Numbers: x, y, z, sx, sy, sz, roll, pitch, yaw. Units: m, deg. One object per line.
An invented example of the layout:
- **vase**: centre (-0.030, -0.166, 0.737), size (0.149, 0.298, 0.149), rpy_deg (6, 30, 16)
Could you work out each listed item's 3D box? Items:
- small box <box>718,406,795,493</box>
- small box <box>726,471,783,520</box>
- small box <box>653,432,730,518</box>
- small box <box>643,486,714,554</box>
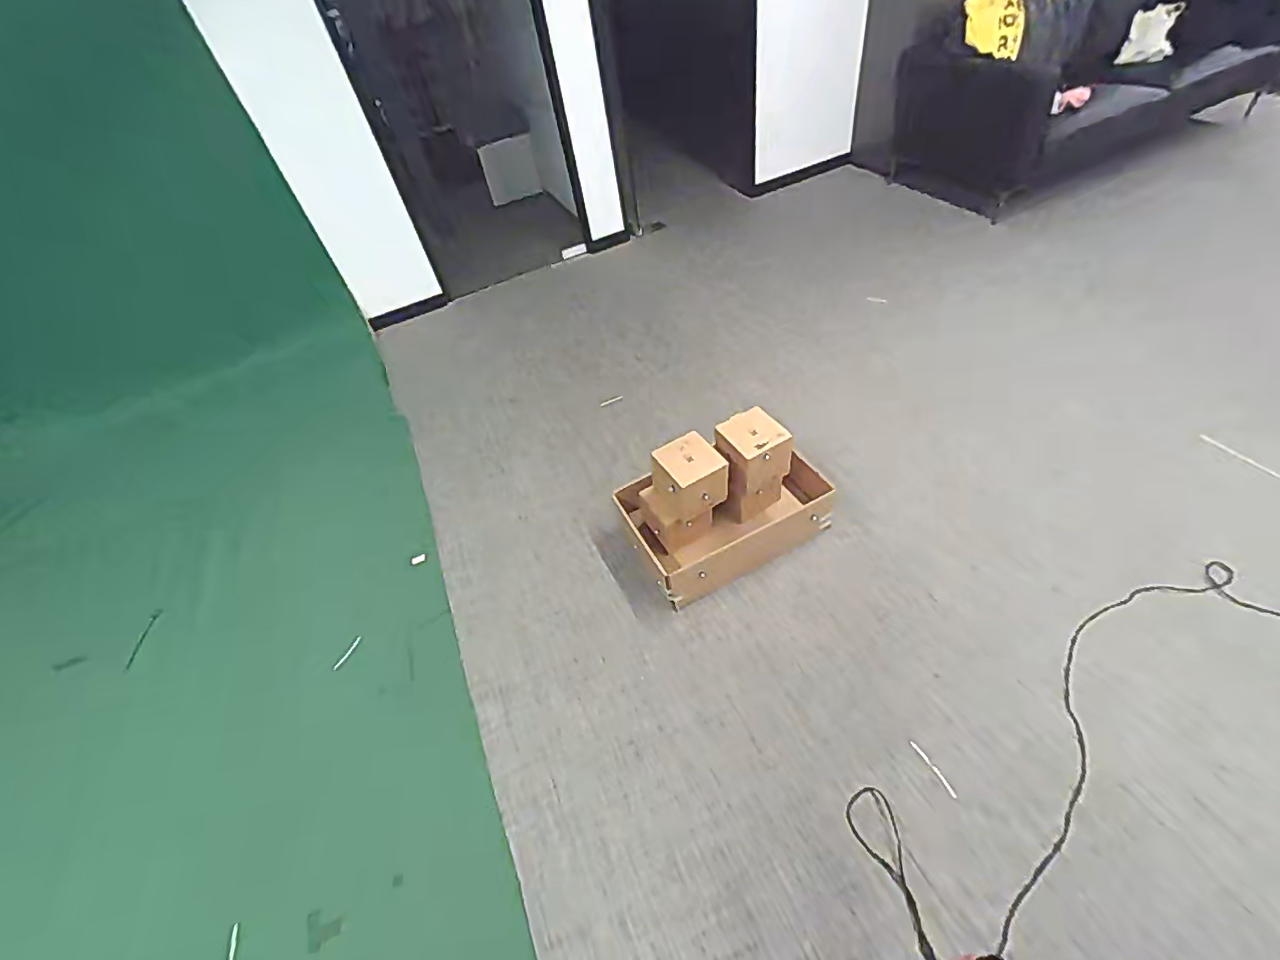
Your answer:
- **small box**: centre (0.360, -0.093, 1.685), size (0.168, 0.176, 0.179), rpy_deg (-29, 49, -12)
- **small box**: centre (0.369, 0.004, 1.818), size (0.179, 0.176, 0.168), rpy_deg (-31, 50, -15)
- **small box**: centre (0.161, -0.007, 1.651), size (0.168, 0.176, 0.179), rpy_deg (-28, 50, -17)
- **small box**: centre (0.132, 0.111, 1.771), size (0.179, 0.176, 0.168), rpy_deg (-27, 50, -15)
